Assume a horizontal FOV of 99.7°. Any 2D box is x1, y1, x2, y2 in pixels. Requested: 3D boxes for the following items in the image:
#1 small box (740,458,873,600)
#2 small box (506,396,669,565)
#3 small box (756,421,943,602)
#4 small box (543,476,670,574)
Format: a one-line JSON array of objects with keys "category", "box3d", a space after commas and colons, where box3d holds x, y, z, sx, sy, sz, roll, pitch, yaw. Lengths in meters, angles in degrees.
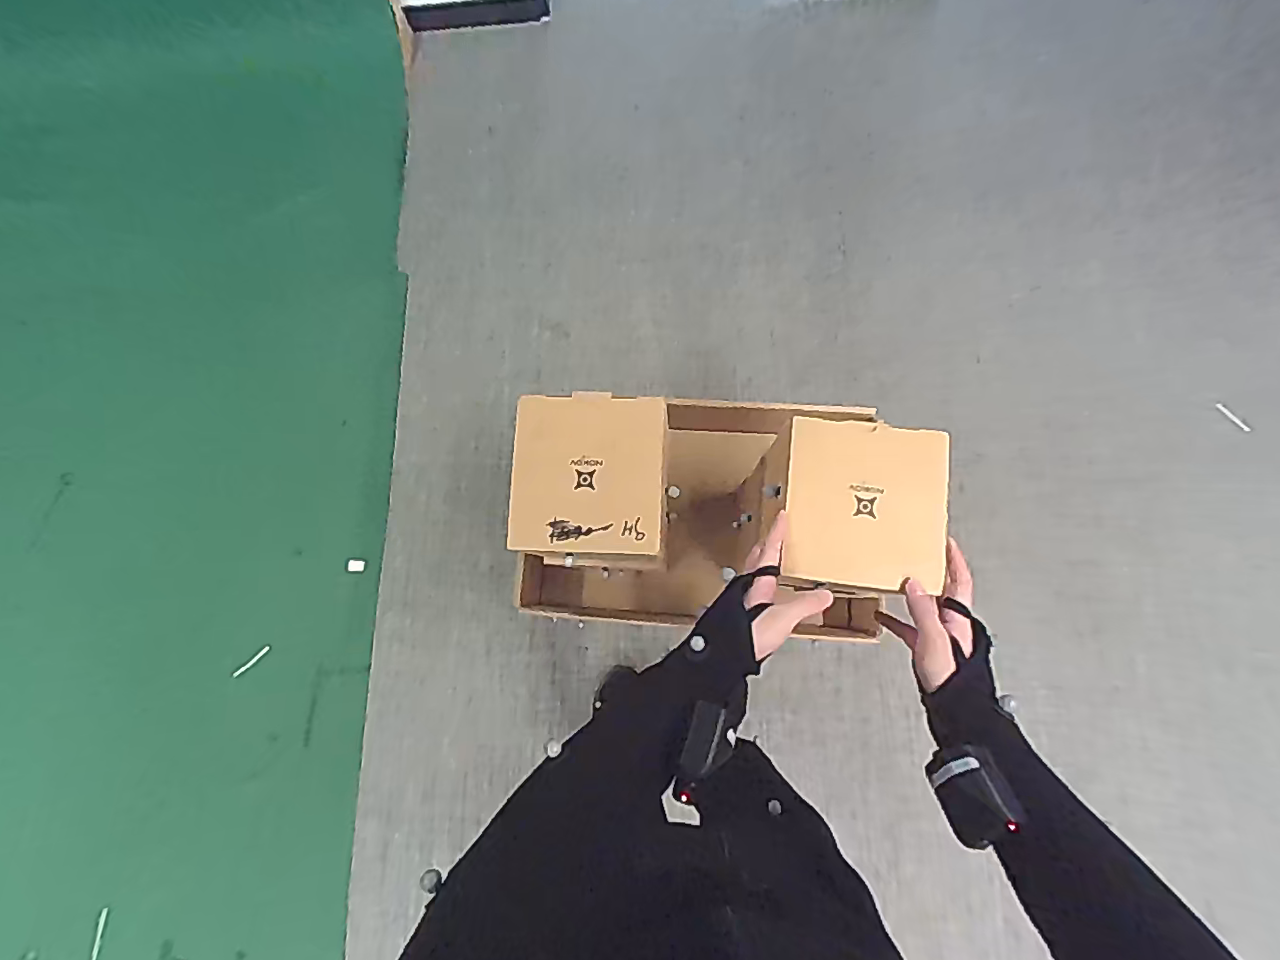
[{"category": "small box", "box3d": [0.242, 0.079, 0.798, 0.168, 0.176, 0.179, 6, 78, 5]}, {"category": "small box", "box3d": [-0.051, 0.009, 0.664, 0.168, 0.176, 0.179, 1, 79, 5]}, {"category": "small box", "box3d": [0.234, 0.045, 0.639, 0.168, 0.176, 0.179, 6, 78, 5]}, {"category": "small box", "box3d": [-0.041, 0.050, 0.822, 0.168, 0.176, 0.179, 3, 80, 4]}]
